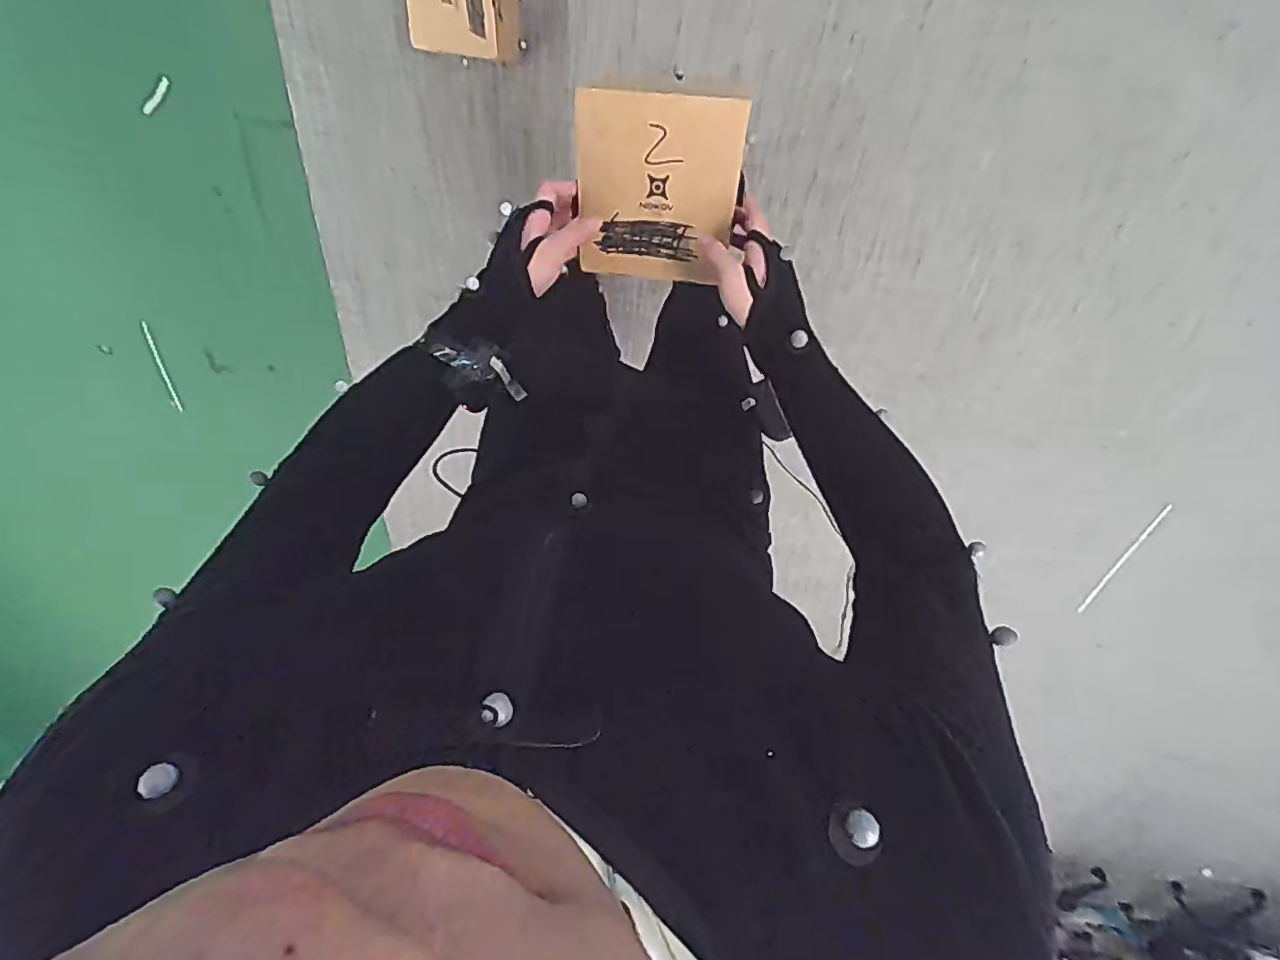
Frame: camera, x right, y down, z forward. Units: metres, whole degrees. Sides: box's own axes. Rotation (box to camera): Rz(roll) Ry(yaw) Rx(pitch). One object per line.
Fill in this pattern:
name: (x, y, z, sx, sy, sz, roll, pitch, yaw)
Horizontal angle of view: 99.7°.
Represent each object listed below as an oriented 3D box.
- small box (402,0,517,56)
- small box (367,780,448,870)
small box: (-0.340, -0.935, 1.043, 0.179, 0.176, 0.168, 10, 126, 2)
small box: (-0.679, 1.014, 1.596, 0.168, 0.176, 0.179, 13, 127, -3)
